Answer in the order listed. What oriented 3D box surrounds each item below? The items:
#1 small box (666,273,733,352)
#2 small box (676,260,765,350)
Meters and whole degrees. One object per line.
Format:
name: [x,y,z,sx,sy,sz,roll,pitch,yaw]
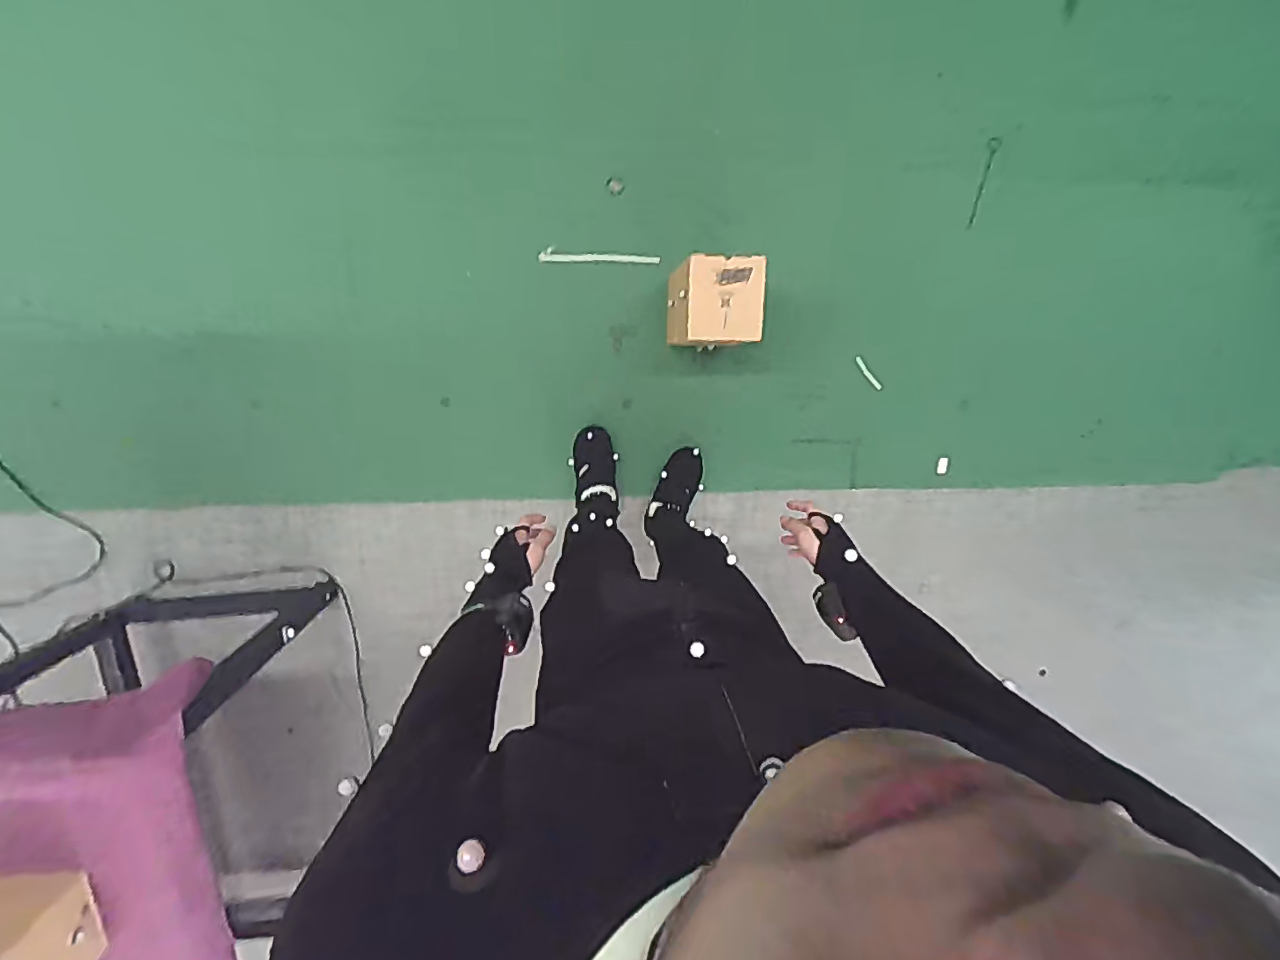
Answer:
small box: [0.160,-0.424,1.392,0.168,0.176,0.179,0,102,-5]
small box: [0.176,-0.391,1.232,0.168,0.176,0.179,-1,102,-5]
